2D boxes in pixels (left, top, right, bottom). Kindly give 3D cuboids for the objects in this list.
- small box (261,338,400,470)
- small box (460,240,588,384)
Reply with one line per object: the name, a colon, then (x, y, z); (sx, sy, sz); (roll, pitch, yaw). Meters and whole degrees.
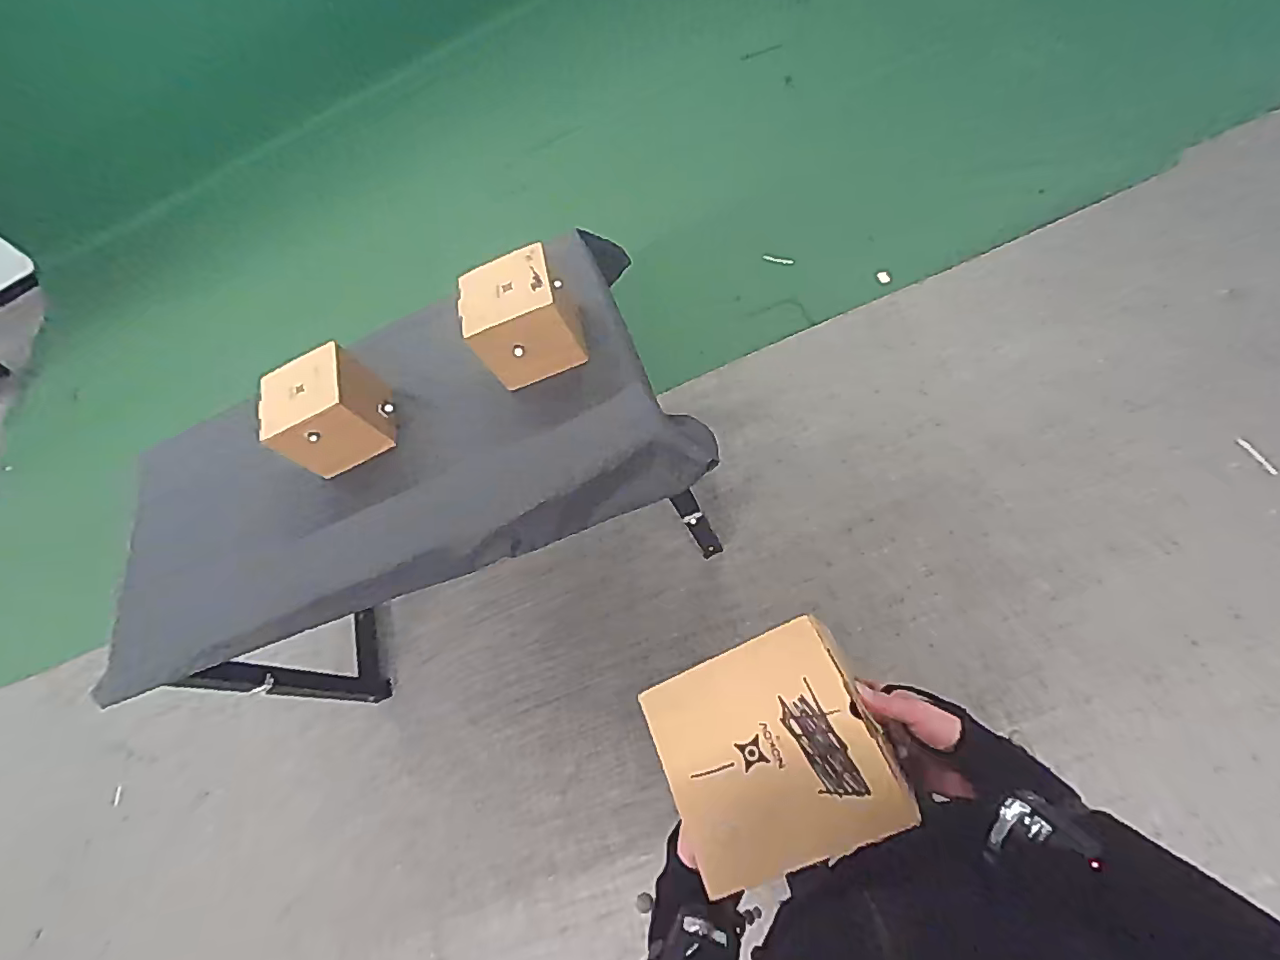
small box: (-0.618, -0.144, 1.090); (0.179, 0.176, 0.168); (-24, 62, 5)
small box: (-0.219, -0.310, 1.034); (0.179, 0.176, 0.168); (-19, 62, 10)
